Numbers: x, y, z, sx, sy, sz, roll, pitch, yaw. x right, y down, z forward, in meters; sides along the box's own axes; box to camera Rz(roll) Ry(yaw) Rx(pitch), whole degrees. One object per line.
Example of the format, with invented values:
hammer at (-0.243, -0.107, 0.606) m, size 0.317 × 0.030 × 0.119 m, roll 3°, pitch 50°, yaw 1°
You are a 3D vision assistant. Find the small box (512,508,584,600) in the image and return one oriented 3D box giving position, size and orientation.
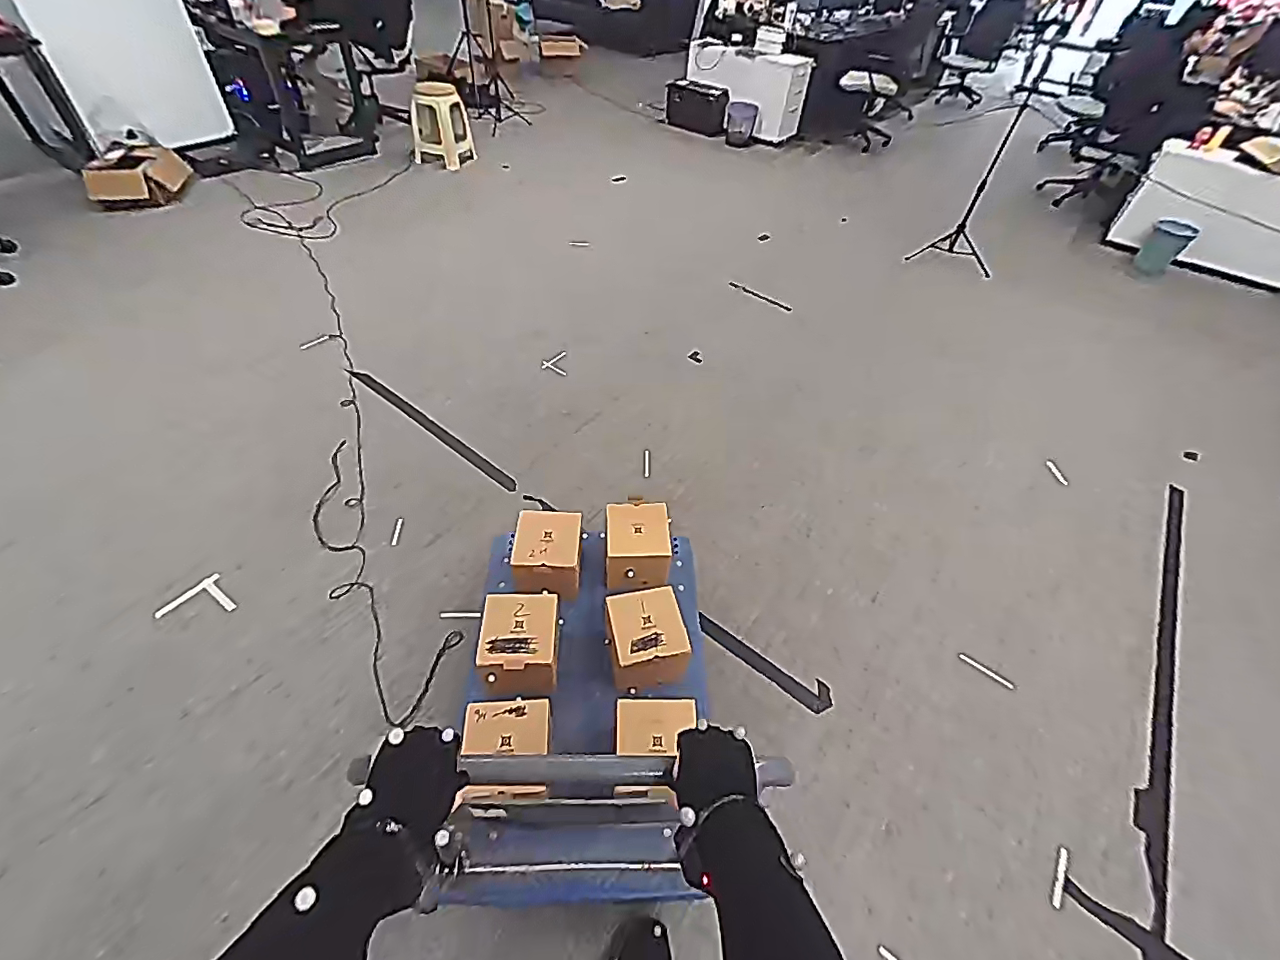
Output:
small box at (-0.241, 0.199, 1.451) m, size 0.168 × 0.176 × 0.179 m, roll 3°, pitch 48°, yaw -2°

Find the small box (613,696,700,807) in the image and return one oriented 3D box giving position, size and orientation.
small box at (0.029, 0.574, 1.137) m, size 0.168 × 0.176 × 0.179 m, roll 3°, pitch 47°, yaw -4°

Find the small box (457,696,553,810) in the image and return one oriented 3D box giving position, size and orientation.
small box at (-0.267, 0.566, 1.113) m, size 0.168 × 0.176 × 0.179 m, roll 0°, pitch 48°, yaw -7°

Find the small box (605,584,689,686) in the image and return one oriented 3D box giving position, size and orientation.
small box at (0.011, 0.381, 1.309) m, size 0.168 × 0.176 × 0.179 m, roll -7°, pitch 48°, yaw -12°

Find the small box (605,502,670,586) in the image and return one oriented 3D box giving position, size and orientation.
small box at (-0.011, 0.180, 1.492) m, size 0.168 × 0.176 × 0.179 m, roll 0°, pitch 48°, yaw -5°
